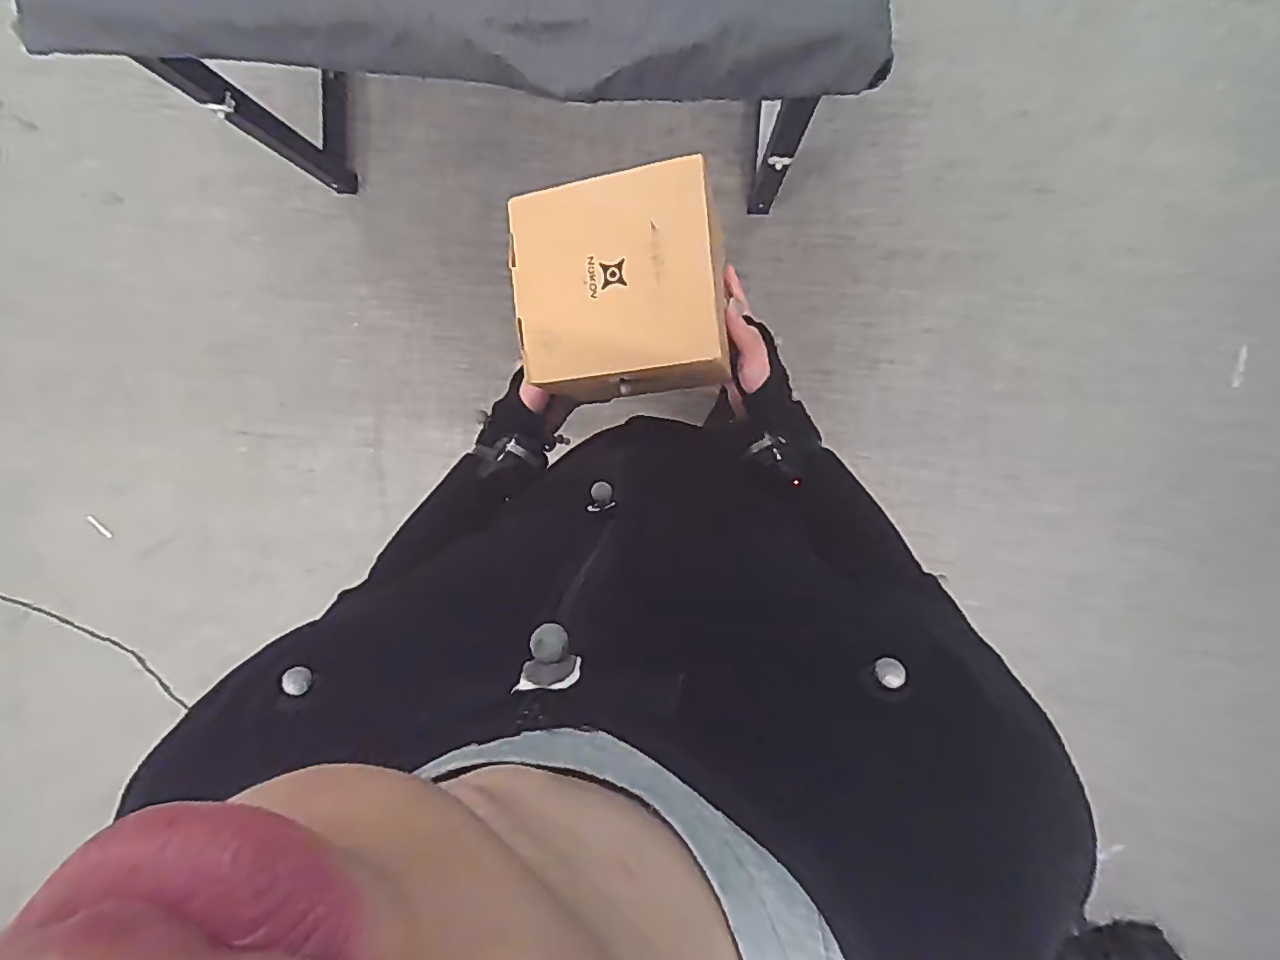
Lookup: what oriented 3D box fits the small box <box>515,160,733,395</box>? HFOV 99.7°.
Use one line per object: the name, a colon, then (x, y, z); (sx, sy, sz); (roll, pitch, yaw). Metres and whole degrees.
small box: (-0.004, -0.181, 0.545); (0.179, 0.176, 0.168); (-5, 93, 12)
